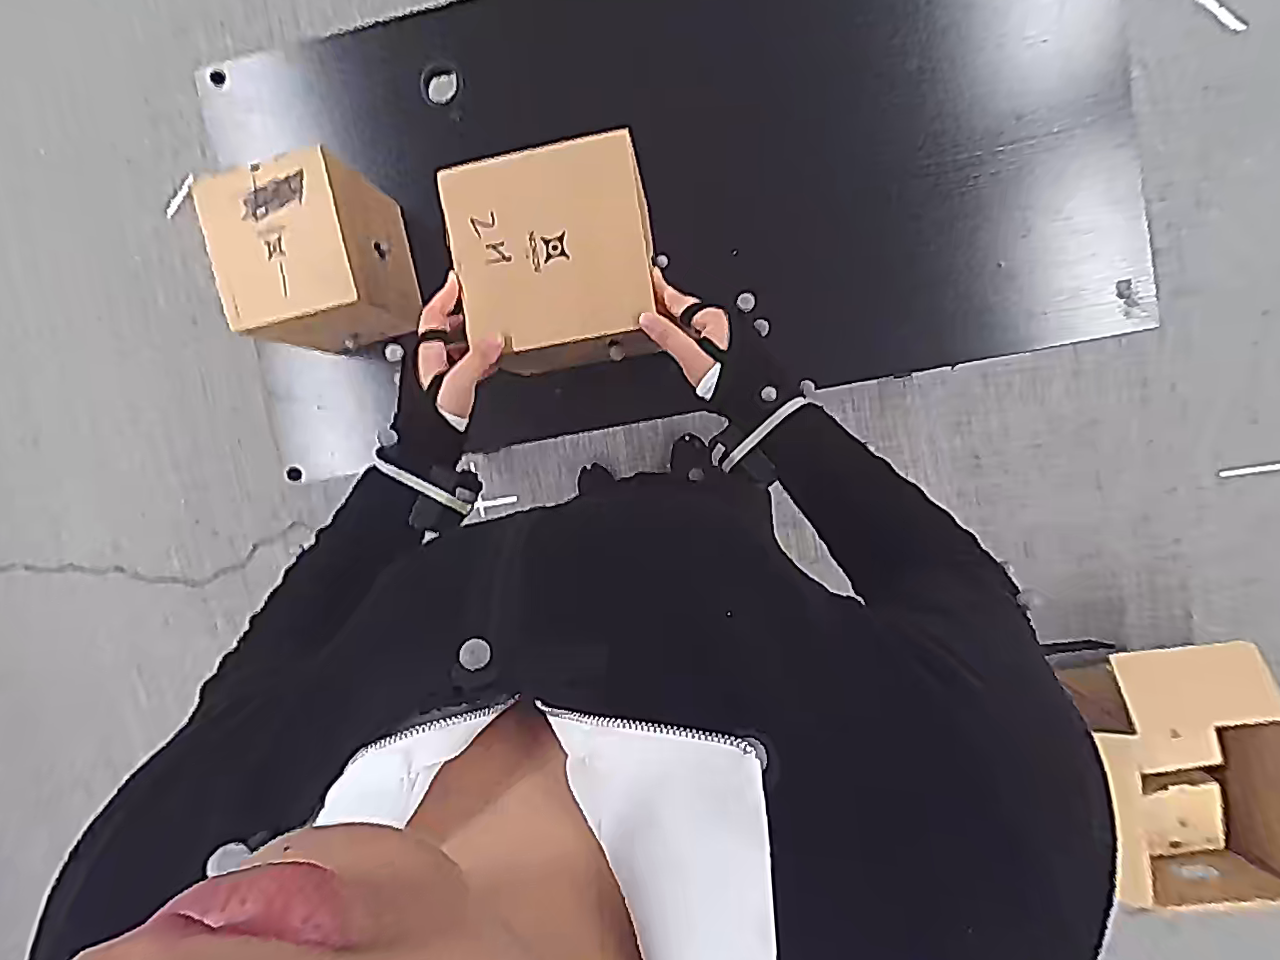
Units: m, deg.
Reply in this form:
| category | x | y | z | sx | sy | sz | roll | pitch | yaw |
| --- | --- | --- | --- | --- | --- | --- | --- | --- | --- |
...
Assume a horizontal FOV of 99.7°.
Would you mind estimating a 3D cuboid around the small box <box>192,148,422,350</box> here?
| category | x | y | z | sx | sy | sz | roll | pitch | yaw |
| --- | --- | --- | --- | --- | --- | --- | --- | --- | --- |
| small box | -0.411 | -0.280 | 0.697 | 0.168 | 0.176 | 0.179 | -12 | 95 | 6 |

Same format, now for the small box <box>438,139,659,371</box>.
| category | x | y | z | sx | sy | sz | roll | pitch | yaw |
| --- | --- | --- | --- | --- | --- | --- | --- | --- | --- |
| small box | -0.077 | -0.212 | 0.559 | 0.179 | 0.176 | 0.168 | -8 | 95 | 7 |
